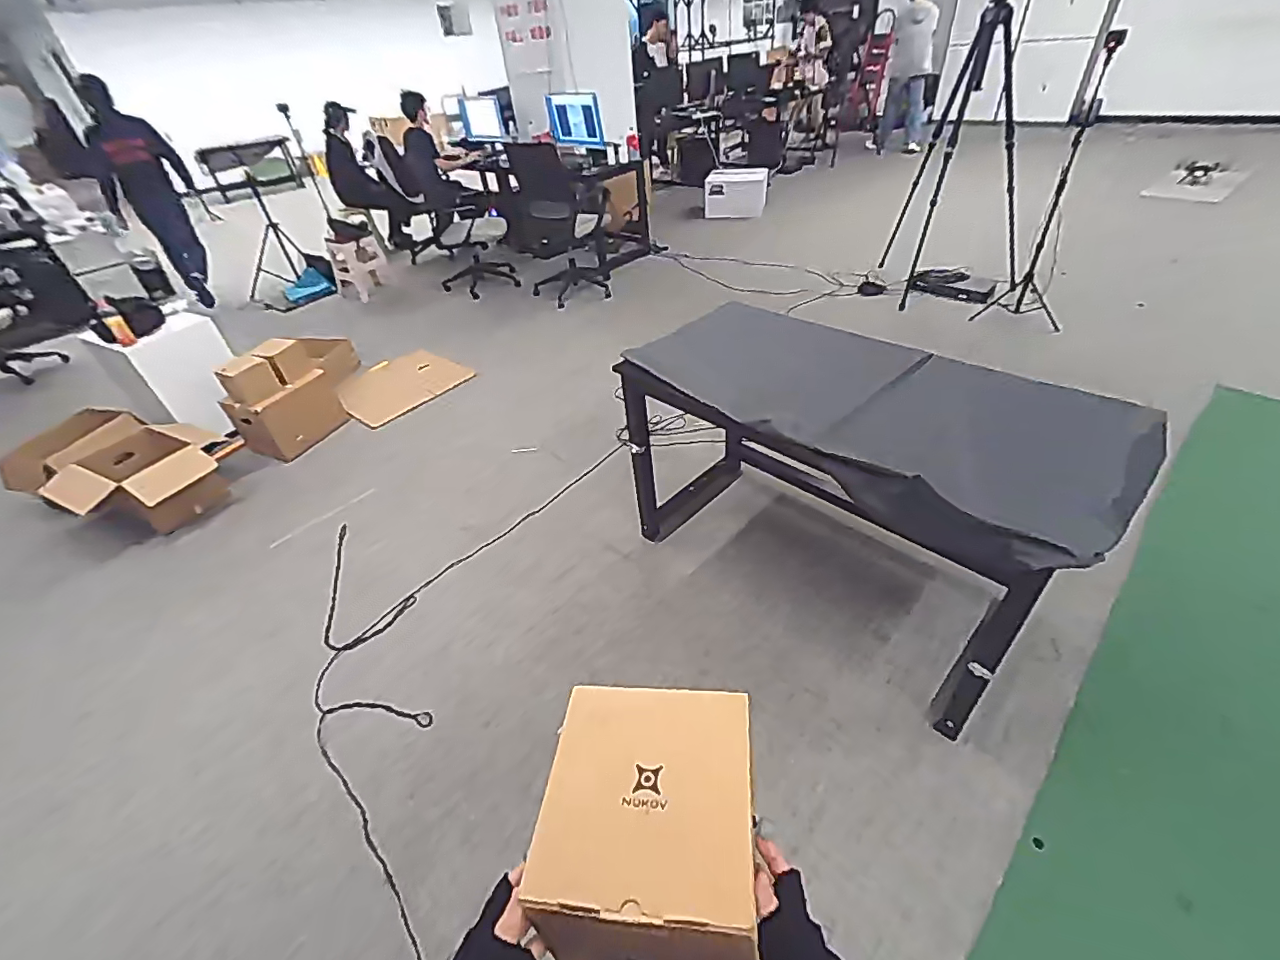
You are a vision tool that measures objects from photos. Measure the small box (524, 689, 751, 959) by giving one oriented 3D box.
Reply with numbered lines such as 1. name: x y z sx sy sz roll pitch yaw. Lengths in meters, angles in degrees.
1. small box: 0.015 0.319 0.490 0.168 0.176 0.179 -1 36 11
